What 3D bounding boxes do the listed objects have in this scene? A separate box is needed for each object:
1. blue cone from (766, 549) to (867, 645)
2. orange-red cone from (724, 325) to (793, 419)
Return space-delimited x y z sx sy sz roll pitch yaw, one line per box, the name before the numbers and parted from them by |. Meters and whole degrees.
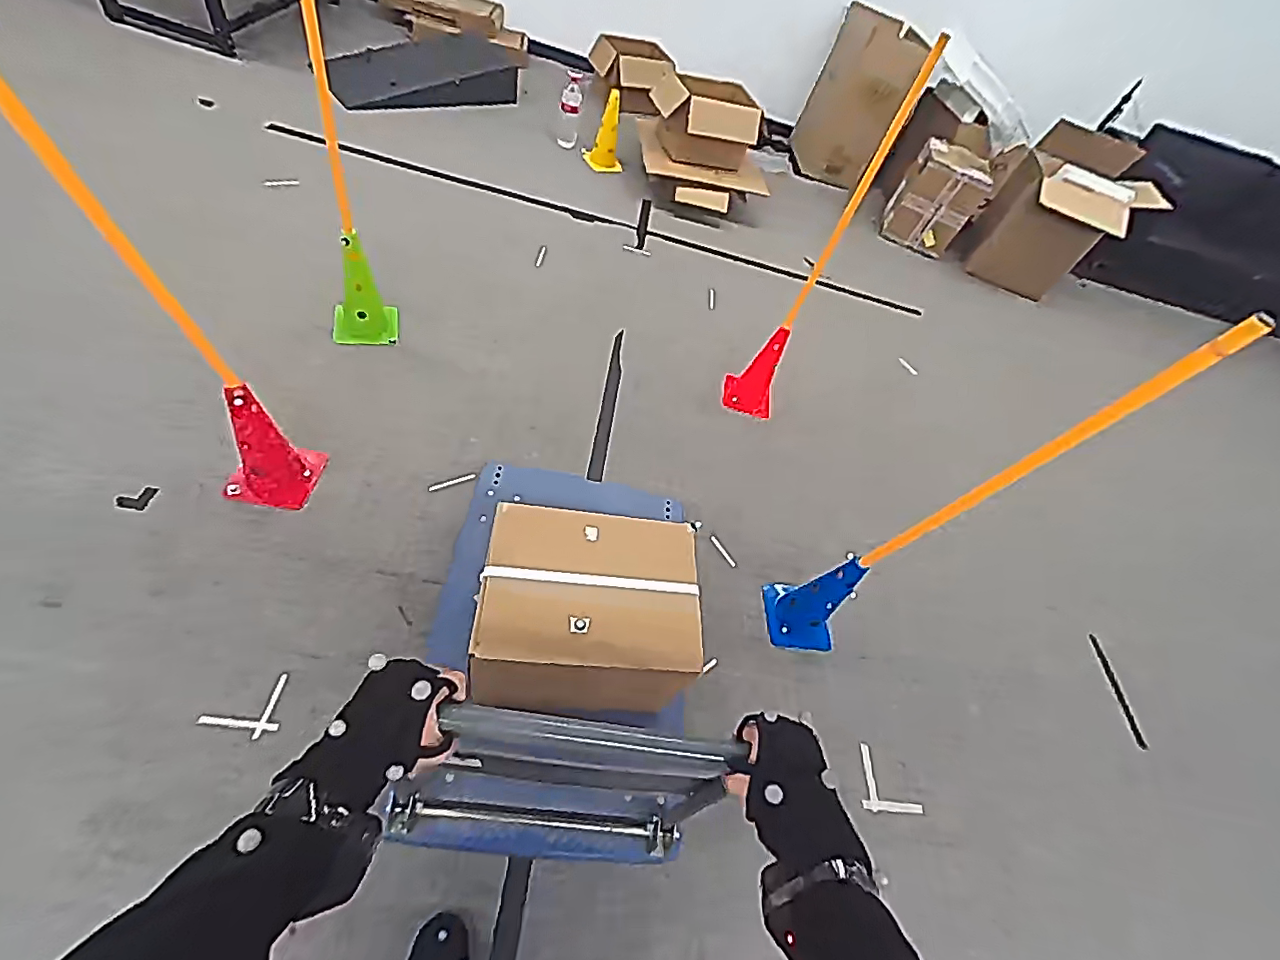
blue cone | 0.526 0.311 1.528 0.193 0.380 0.192 10 51 -11
orange-red cone | 0.483 -0.436 2.048 0.199 0.360 0.198 18 52 -5
